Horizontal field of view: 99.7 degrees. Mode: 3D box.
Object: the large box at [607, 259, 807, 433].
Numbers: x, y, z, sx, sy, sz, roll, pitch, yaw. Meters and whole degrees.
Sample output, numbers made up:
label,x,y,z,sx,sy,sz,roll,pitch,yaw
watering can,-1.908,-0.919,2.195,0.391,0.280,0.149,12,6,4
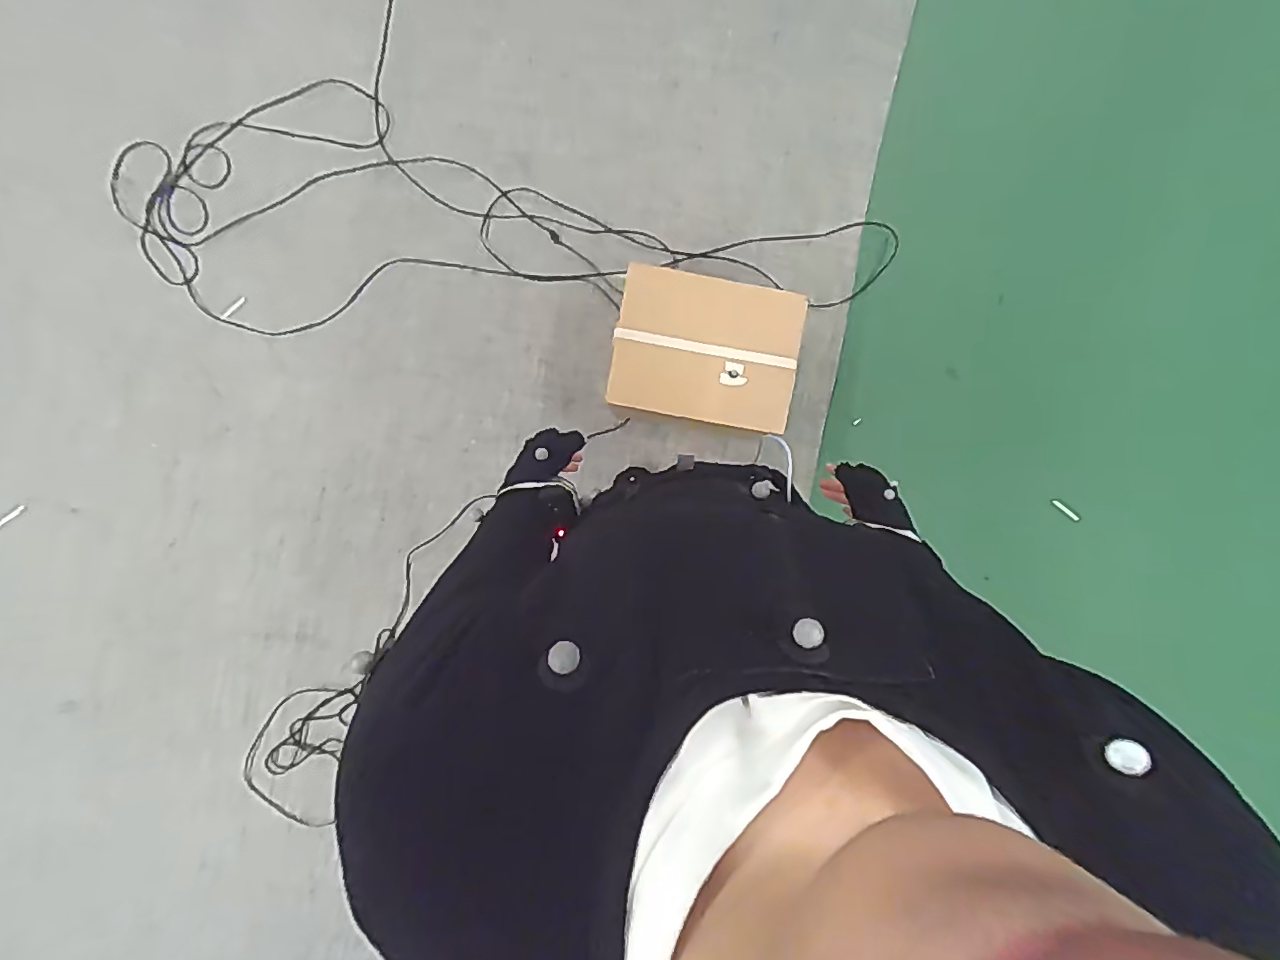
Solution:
label,x,y,z,sx,sy,sz,roll,pitch,yaw
large box,0.141,-0.304,1.327,0.408,0.320,0.320,10,93,-2
